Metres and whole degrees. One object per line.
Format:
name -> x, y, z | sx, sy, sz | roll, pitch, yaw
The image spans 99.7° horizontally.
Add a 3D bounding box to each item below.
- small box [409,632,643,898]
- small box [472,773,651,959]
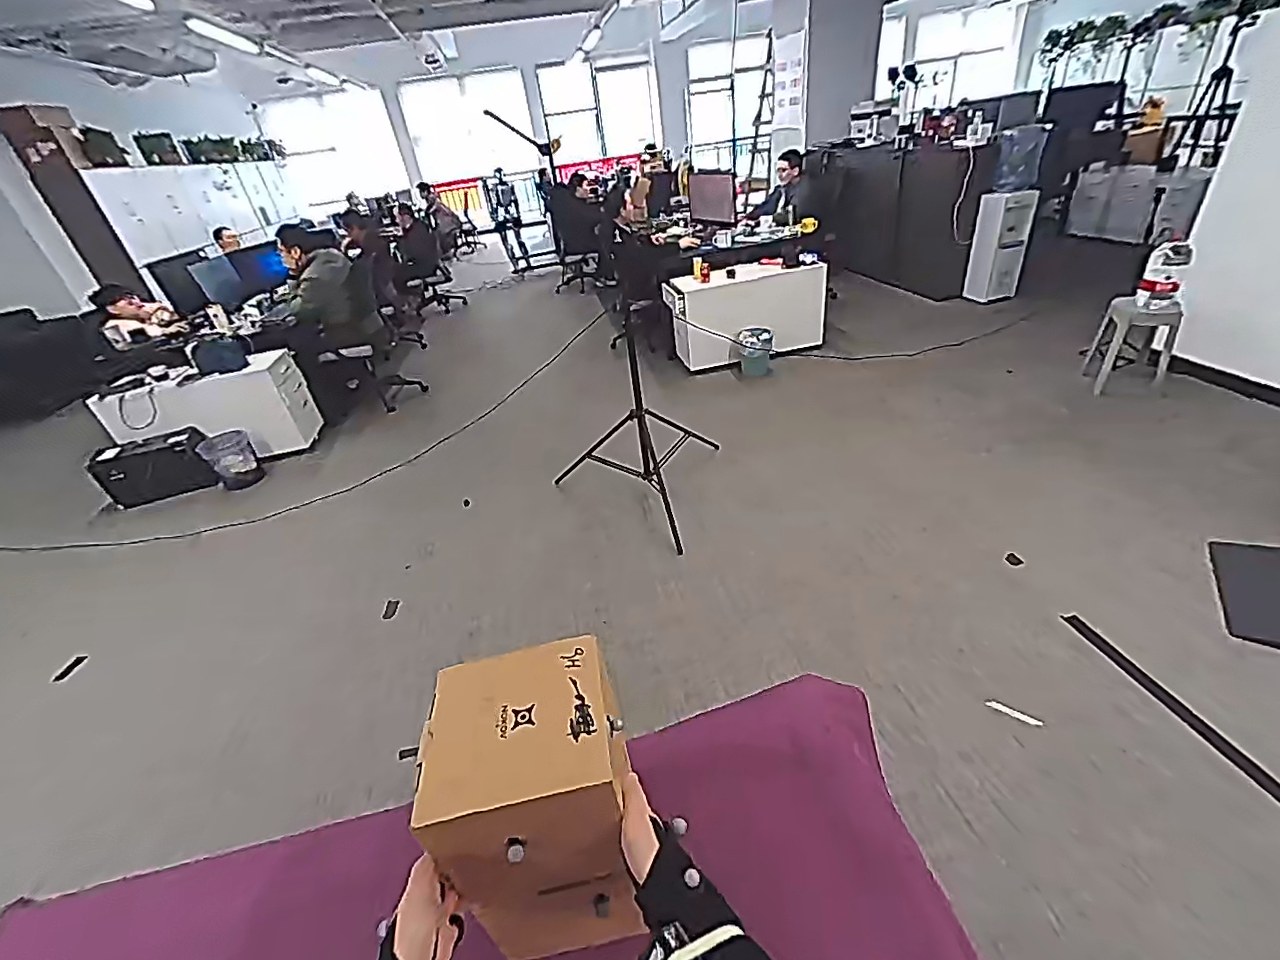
small box -> -0.106, 0.293, 0.560 | 0.179, 0.176, 0.168 | -13, 34, -3
small box -> -0.085, 0.438, 0.656 | 0.179, 0.176, 0.168 | -11, 33, -3
